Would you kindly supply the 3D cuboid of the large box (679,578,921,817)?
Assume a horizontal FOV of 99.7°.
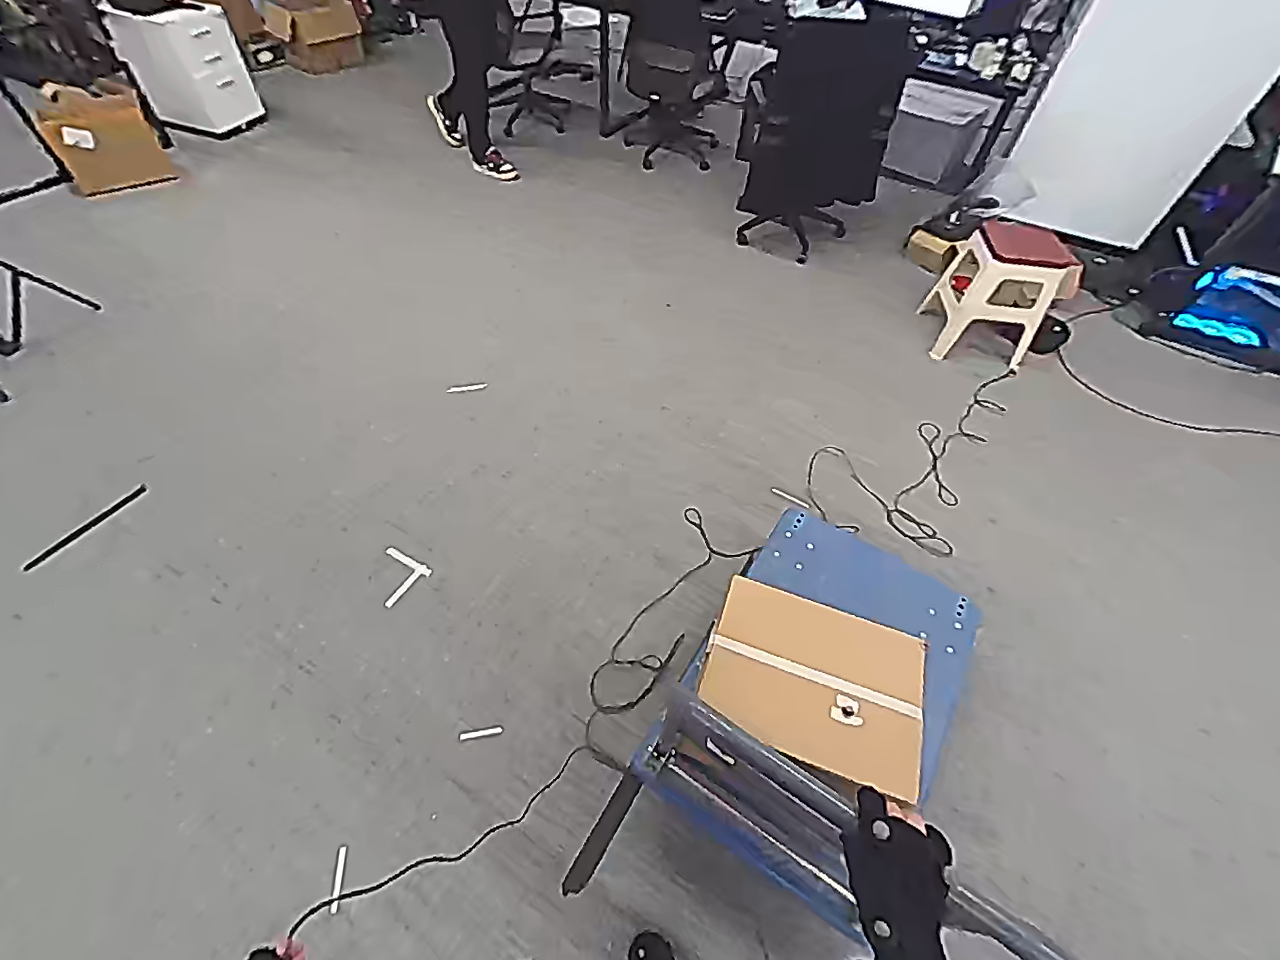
[{"bbox_3d":[0.328,0.467,1.163,0.408,0.320,0.320,18,54,10],"label":"large box"}]
